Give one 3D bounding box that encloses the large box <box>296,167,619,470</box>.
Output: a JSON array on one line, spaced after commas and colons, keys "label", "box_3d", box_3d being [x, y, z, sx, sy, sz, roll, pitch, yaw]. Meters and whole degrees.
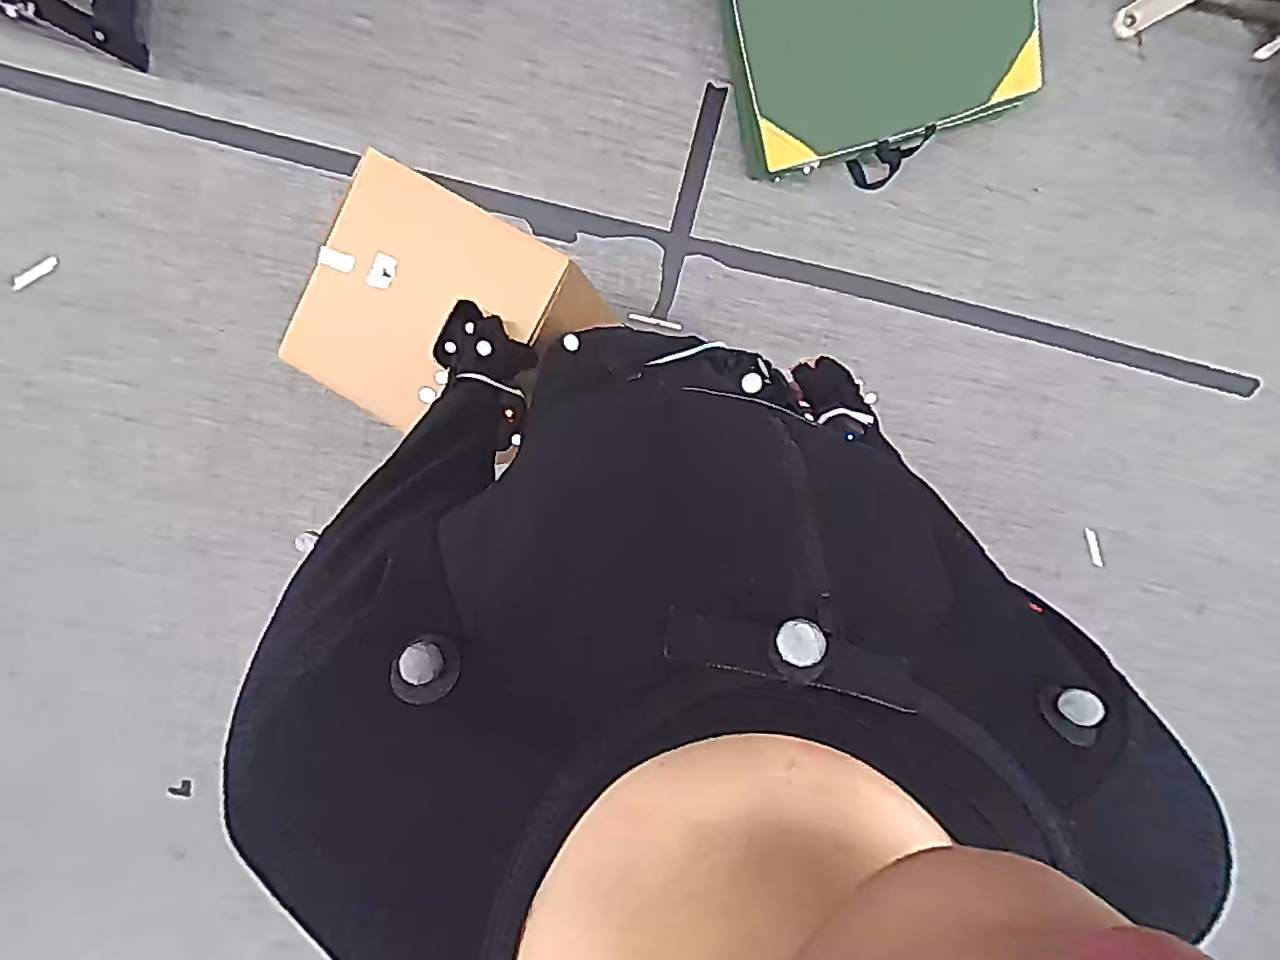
[{"label": "large box", "box_3d": [-0.269, -0.241, 0.924, 0.320, 0.408, 0.320, 32, 99, 2]}]
